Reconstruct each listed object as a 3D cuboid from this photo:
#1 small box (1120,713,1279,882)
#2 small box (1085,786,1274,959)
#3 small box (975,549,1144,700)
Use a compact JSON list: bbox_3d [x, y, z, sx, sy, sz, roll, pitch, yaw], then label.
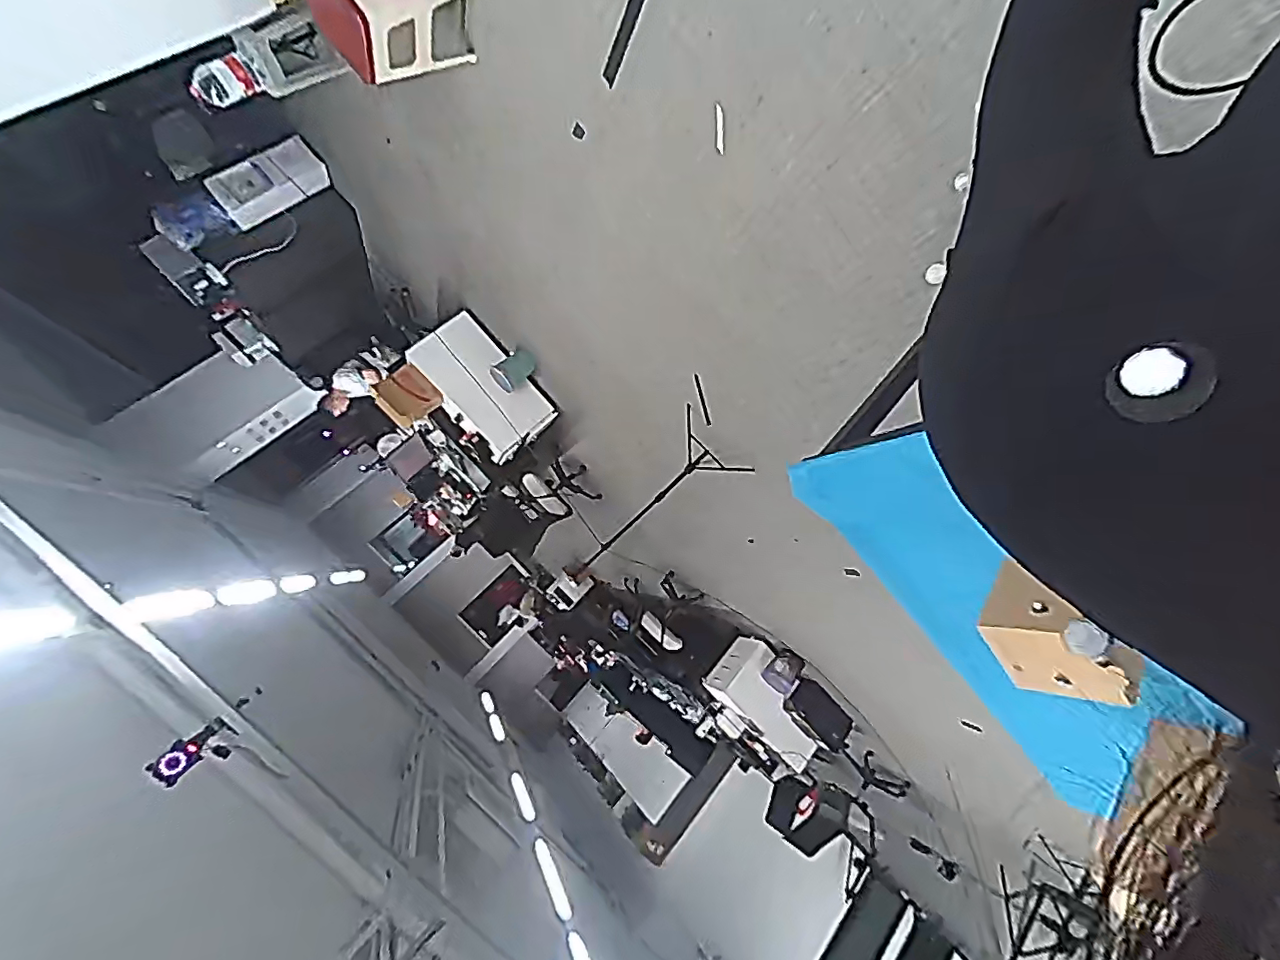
[{"bbox_3d":[1.027,0.565,0.973,0.168,0.176,0.179,51,158,-12],"label":"small box"},{"bbox_3d":[0.918,0.680,0.926,0.168,0.176,0.179,52,157,-16],"label":"small box"},{"bbox_3d":[0.709,0.238,0.924,0.168,0.179,0.176,52,151,-15],"label":"small box"}]
